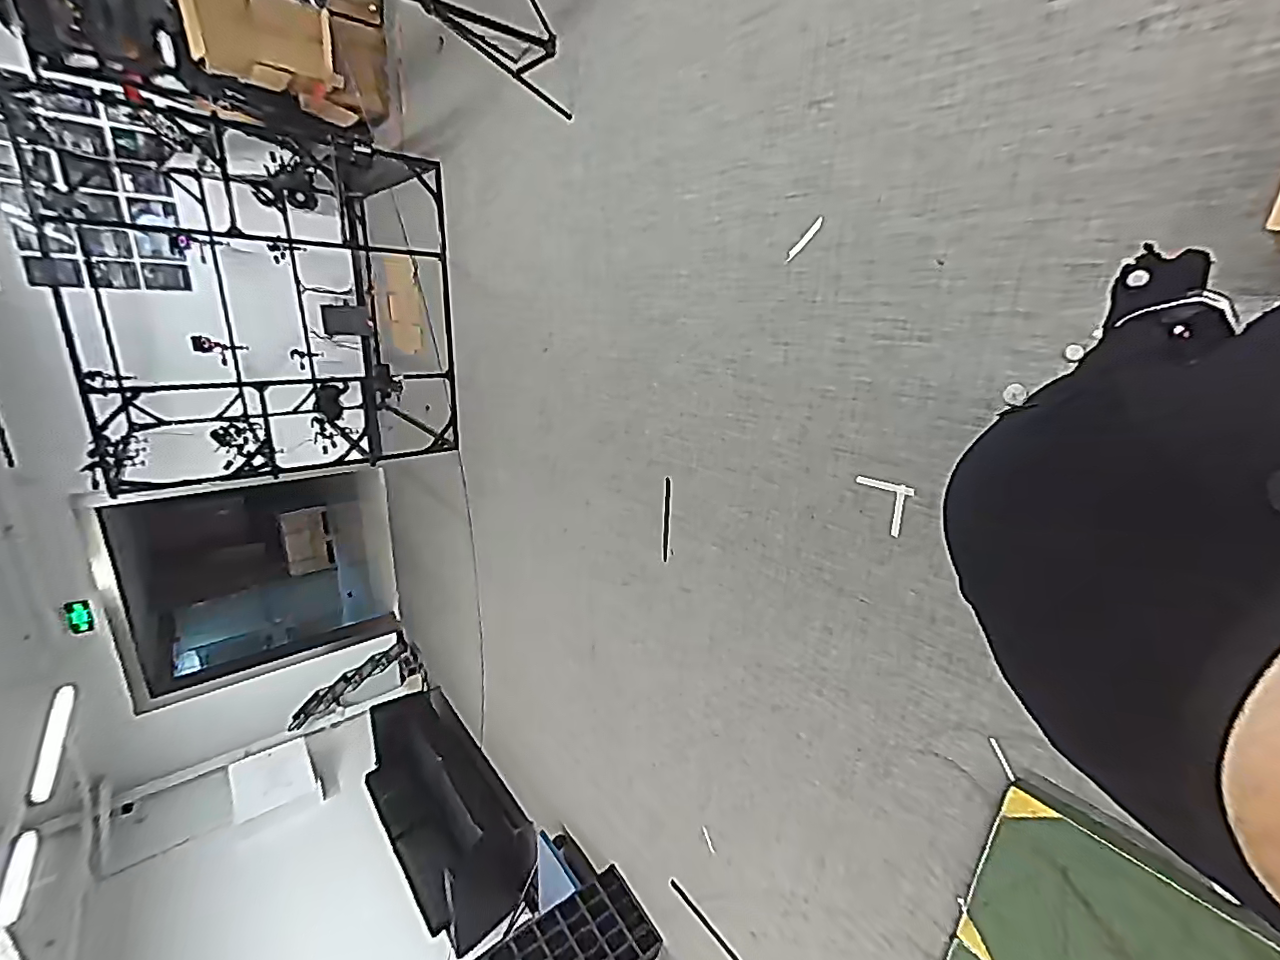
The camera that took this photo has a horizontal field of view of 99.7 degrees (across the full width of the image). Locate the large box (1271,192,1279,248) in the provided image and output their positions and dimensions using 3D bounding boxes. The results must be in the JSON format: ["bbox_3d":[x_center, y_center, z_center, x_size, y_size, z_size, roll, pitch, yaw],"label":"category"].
[{"bbox_3d":[1.149,-0.480,0.681,0.408,0.320,0.320,24,118,46],"label":"large box"}]
